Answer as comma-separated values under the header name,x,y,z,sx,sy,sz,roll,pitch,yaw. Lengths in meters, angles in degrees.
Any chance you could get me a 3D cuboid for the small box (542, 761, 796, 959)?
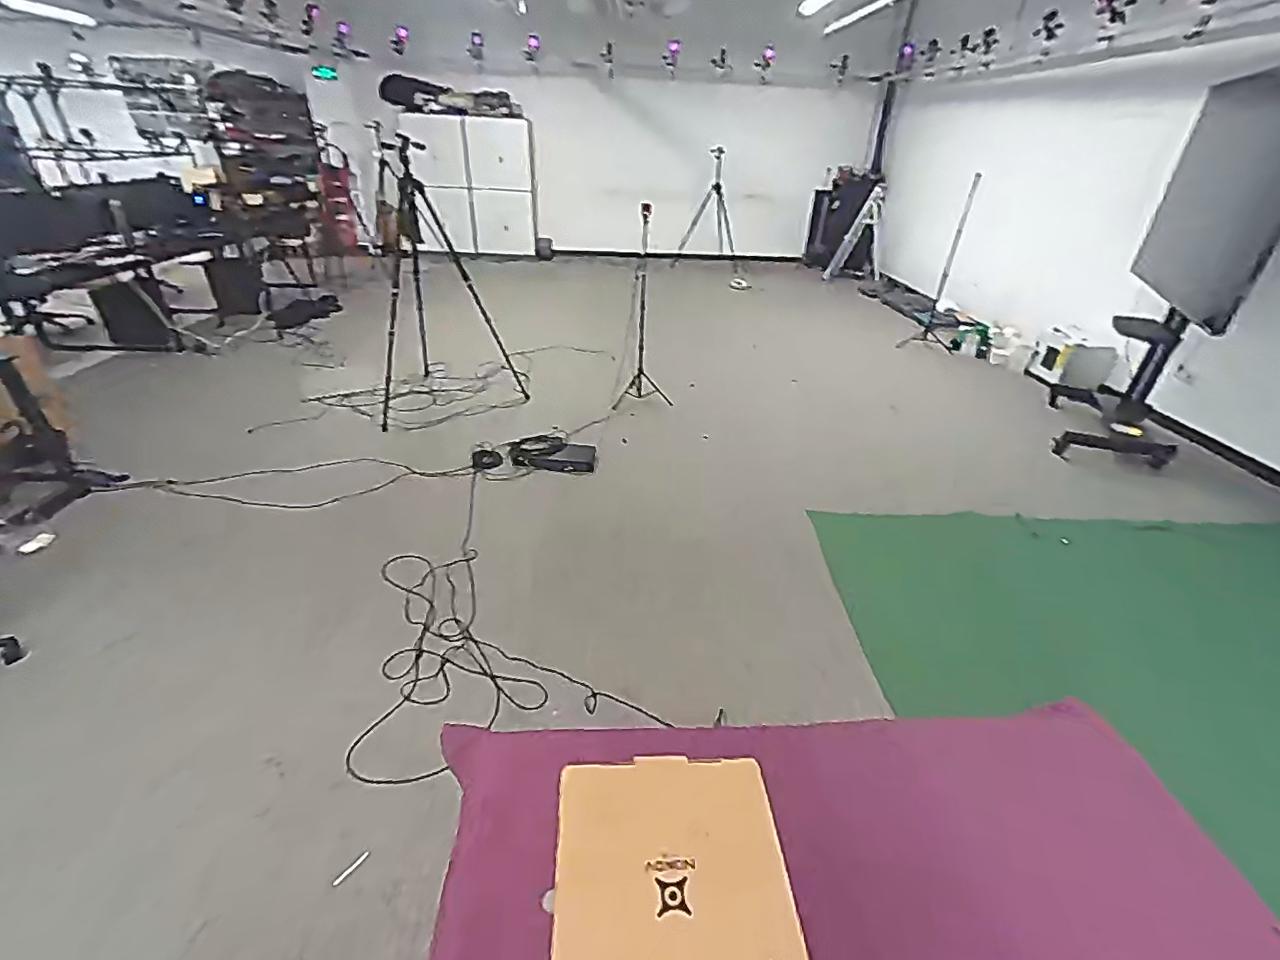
name,x,y,z,sx,sy,sz,roll,pitch,yaw
small box,0.013,0.352,0.424,0.168,0.176,0.179,0,32,-4
